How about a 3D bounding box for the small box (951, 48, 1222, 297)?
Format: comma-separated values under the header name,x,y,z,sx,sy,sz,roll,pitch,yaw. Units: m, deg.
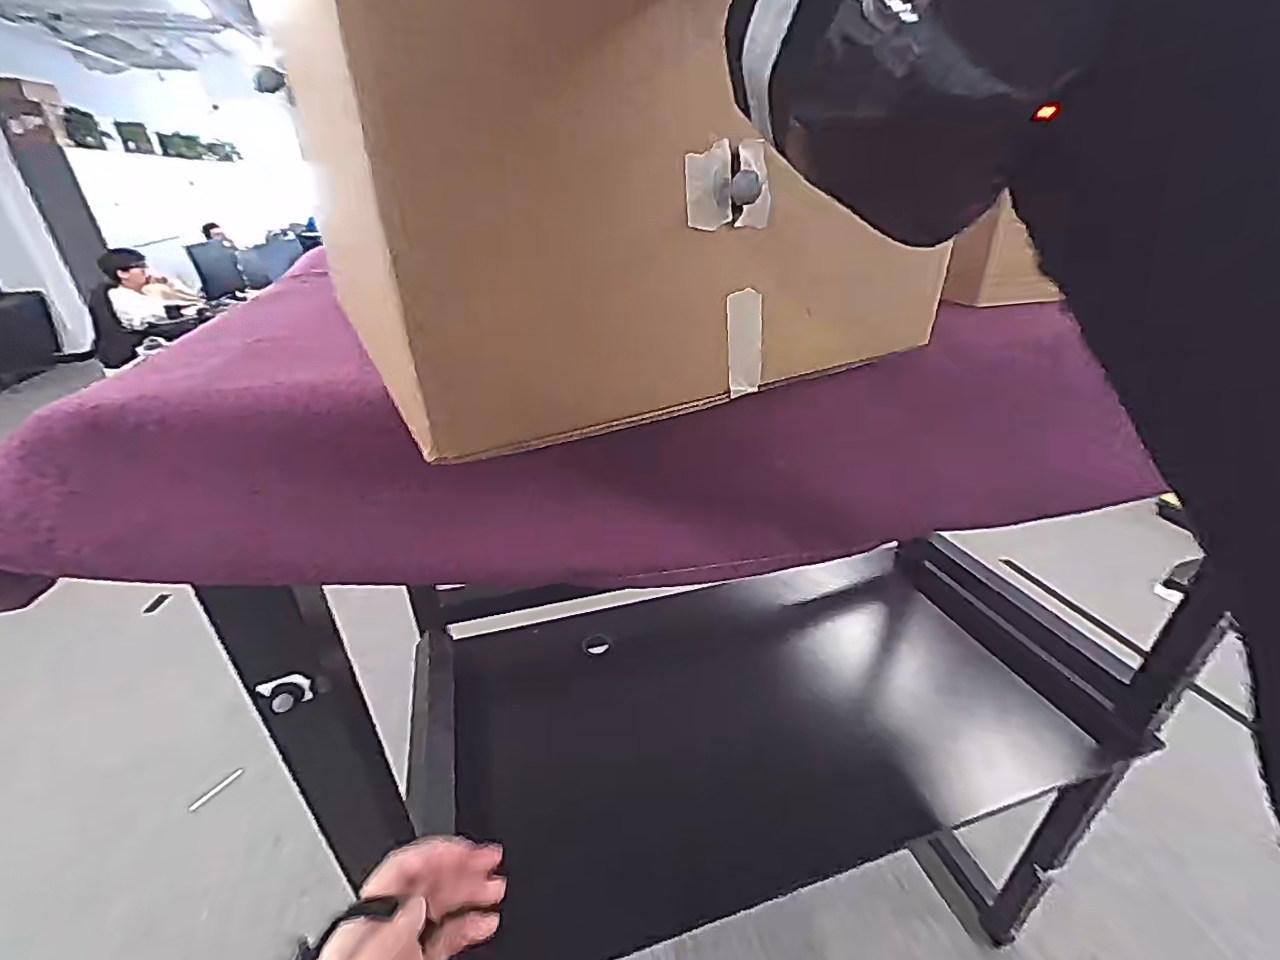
name,x,y,z,sx,sy,sz,roll,pitch,yaw
small box,0.341,-0.271,0.497,0.179,0.176,0.168,-8,29,-12
